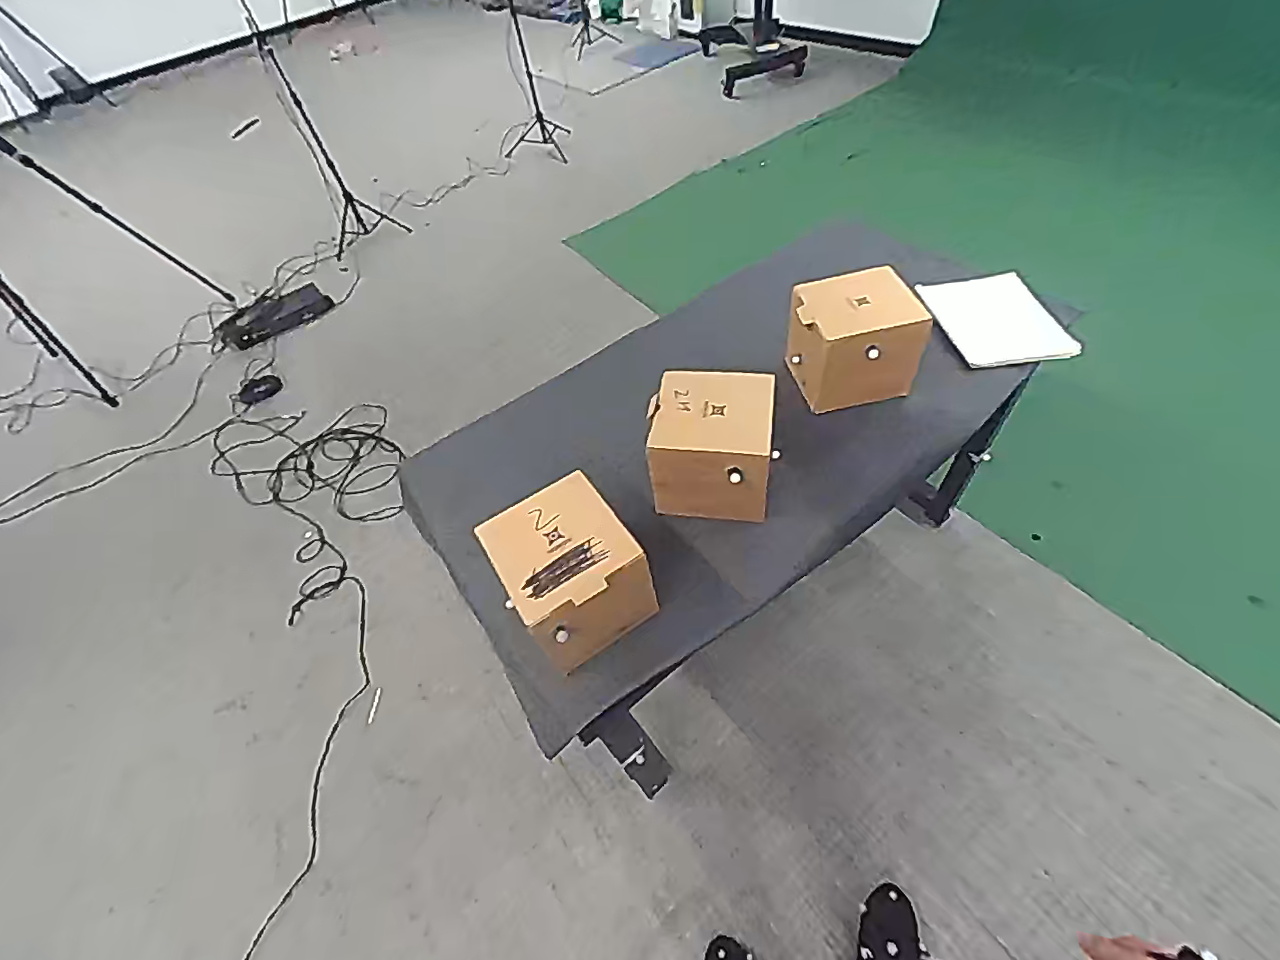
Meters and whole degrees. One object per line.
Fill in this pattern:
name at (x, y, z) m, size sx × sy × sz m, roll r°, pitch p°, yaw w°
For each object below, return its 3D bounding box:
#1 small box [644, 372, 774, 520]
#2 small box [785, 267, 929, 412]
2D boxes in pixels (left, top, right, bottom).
small box at (0.114, -0.051, 0.858) m, size 0.179 × 0.176 × 0.168 m, roll 4°, pitch 53°, yaw 12°
small box at (0.374, -0.248, 0.969) m, size 0.179 × 0.176 × 0.168 m, roll -12°, pitch 51°, yaw 1°
